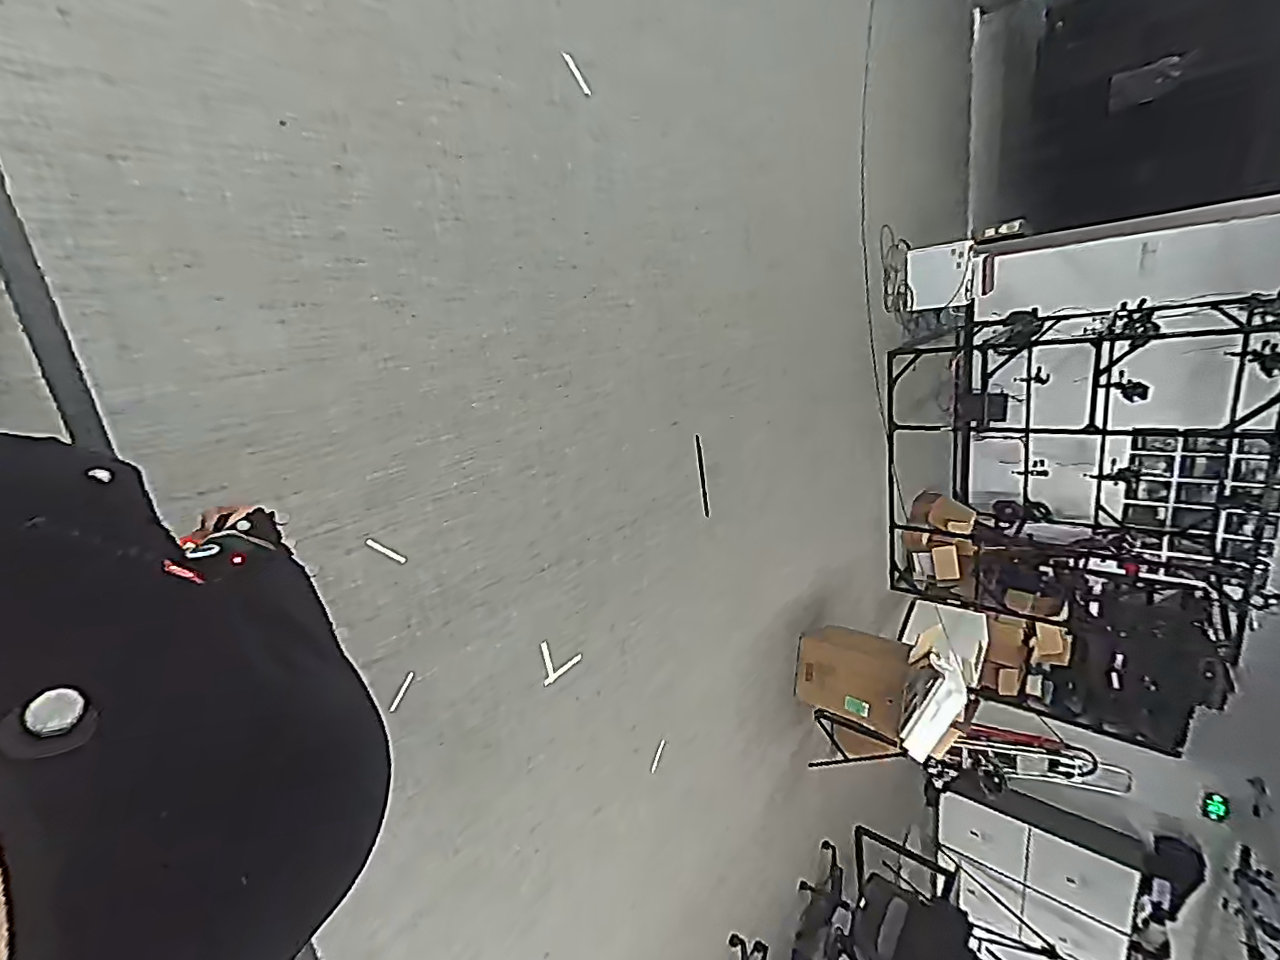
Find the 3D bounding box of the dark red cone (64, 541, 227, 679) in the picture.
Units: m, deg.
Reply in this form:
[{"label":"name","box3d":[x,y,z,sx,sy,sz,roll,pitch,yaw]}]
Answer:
[{"label":"dark red cone","box3d":[-0.823,0.253,0.934,0.201,0.394,0.202,-24,114,-43]}]
